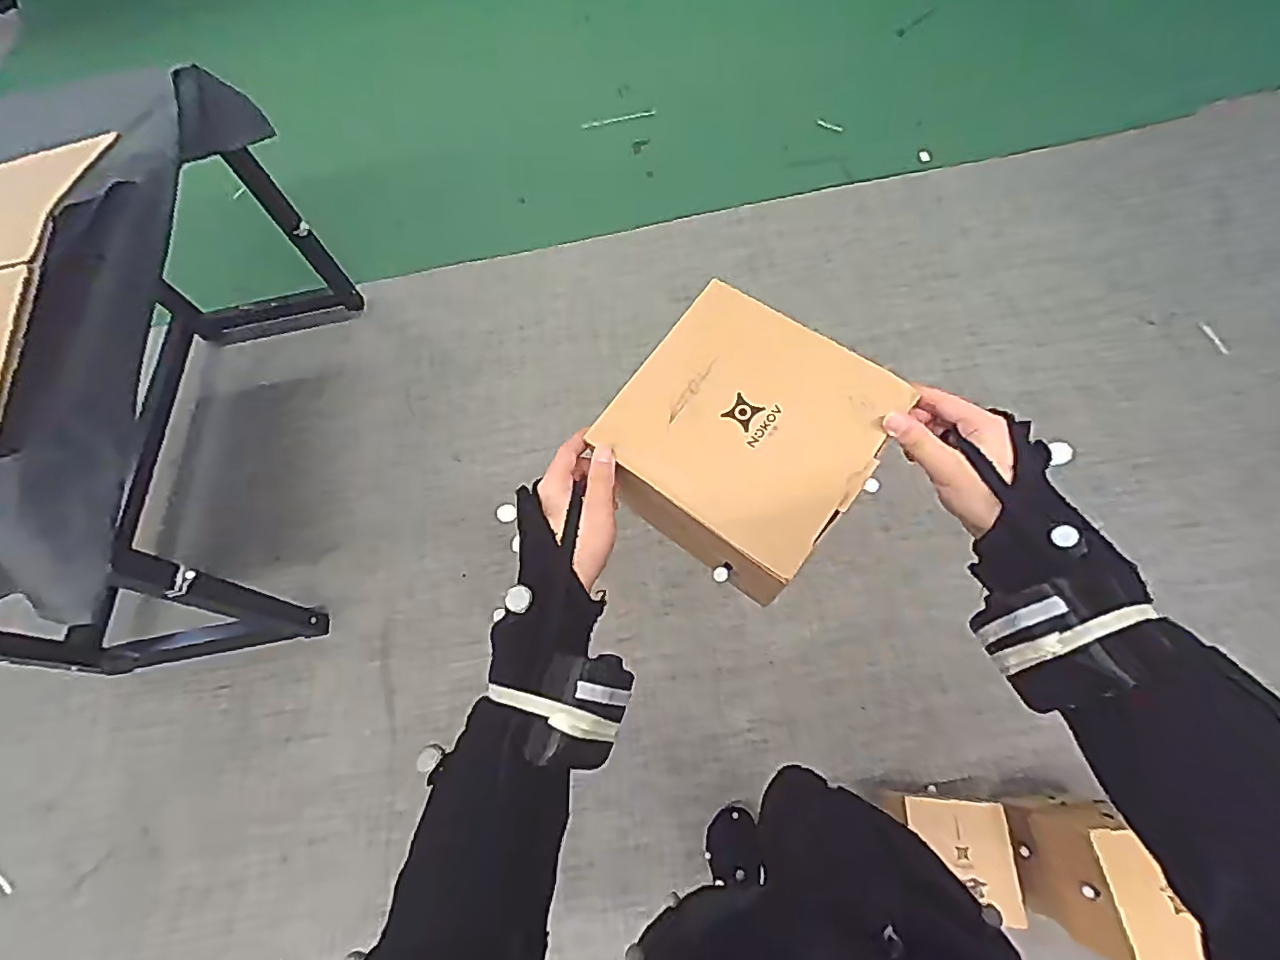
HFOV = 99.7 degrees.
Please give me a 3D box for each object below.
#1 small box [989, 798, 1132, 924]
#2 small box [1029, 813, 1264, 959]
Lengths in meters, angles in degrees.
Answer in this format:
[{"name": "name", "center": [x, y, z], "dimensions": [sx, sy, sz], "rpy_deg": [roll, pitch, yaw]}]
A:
[{"name": "small box", "center": [0.763, 0.670, 0.957], "dimensions": [0.168, 0.176, 0.179], "rpy_deg": [-7, 62, 3]}, {"name": "small box", "center": [0.735, 0.612, 0.806], "dimensions": [0.168, 0.176, 0.179], "rpy_deg": [-7, 63, 4]}]
